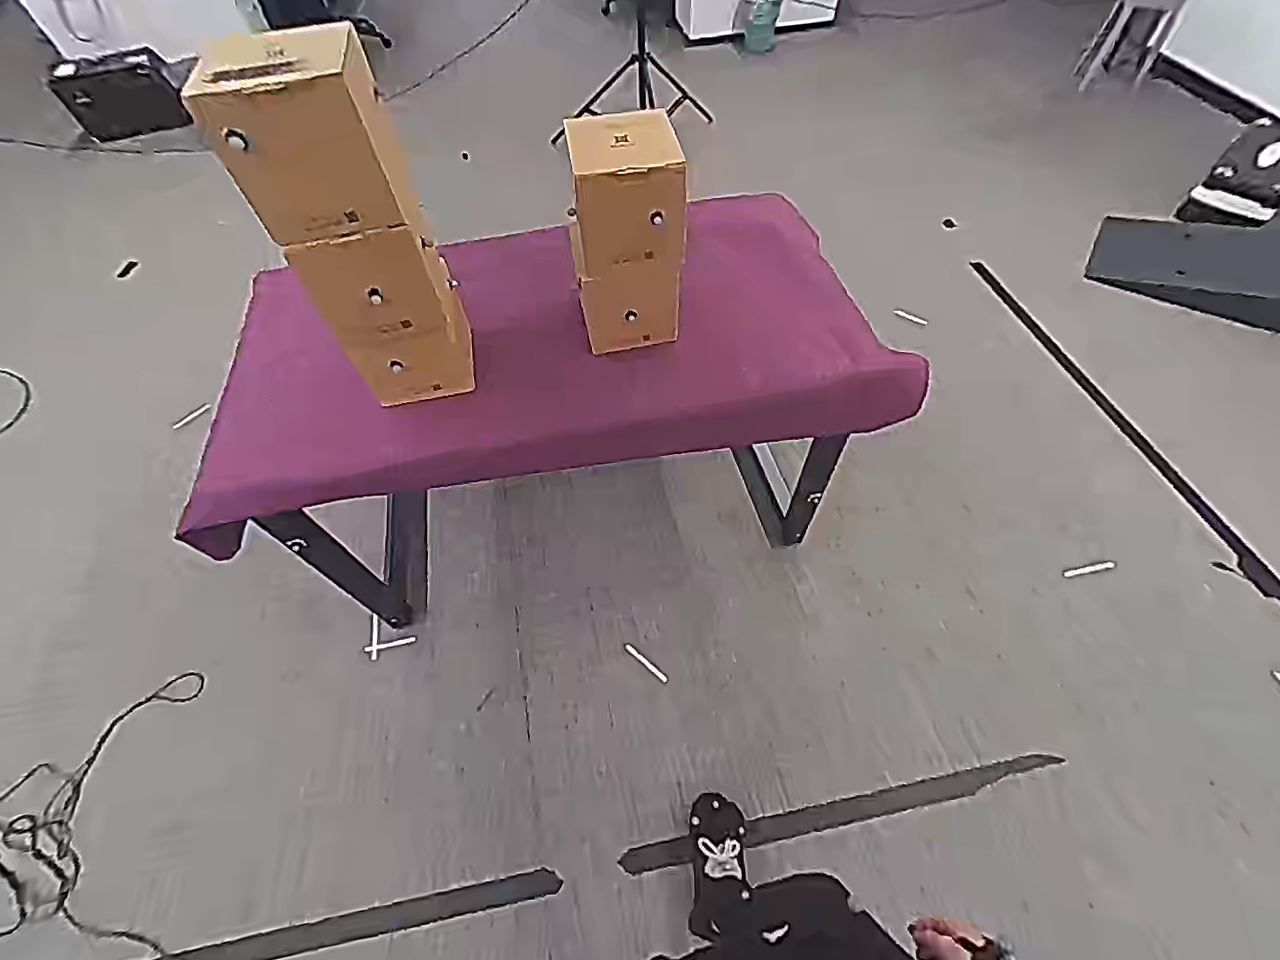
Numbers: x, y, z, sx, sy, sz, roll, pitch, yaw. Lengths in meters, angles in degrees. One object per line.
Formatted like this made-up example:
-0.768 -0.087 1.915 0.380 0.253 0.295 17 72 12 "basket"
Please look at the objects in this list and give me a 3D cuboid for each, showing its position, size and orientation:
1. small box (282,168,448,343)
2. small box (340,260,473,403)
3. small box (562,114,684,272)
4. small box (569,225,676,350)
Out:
-0.400 -0.327 0.811 0.168 0.176 0.179 -16 58 -8 "small box"
-0.402 -0.254 0.959 0.168 0.176 0.179 -12 57 -5 "small box"
-0.026 -0.456 0.877 0.168 0.176 0.179 -9 56 -5 "small box"
-0.030 -0.362 1.010 0.168 0.176 0.179 -11 57 -5 "small box"
